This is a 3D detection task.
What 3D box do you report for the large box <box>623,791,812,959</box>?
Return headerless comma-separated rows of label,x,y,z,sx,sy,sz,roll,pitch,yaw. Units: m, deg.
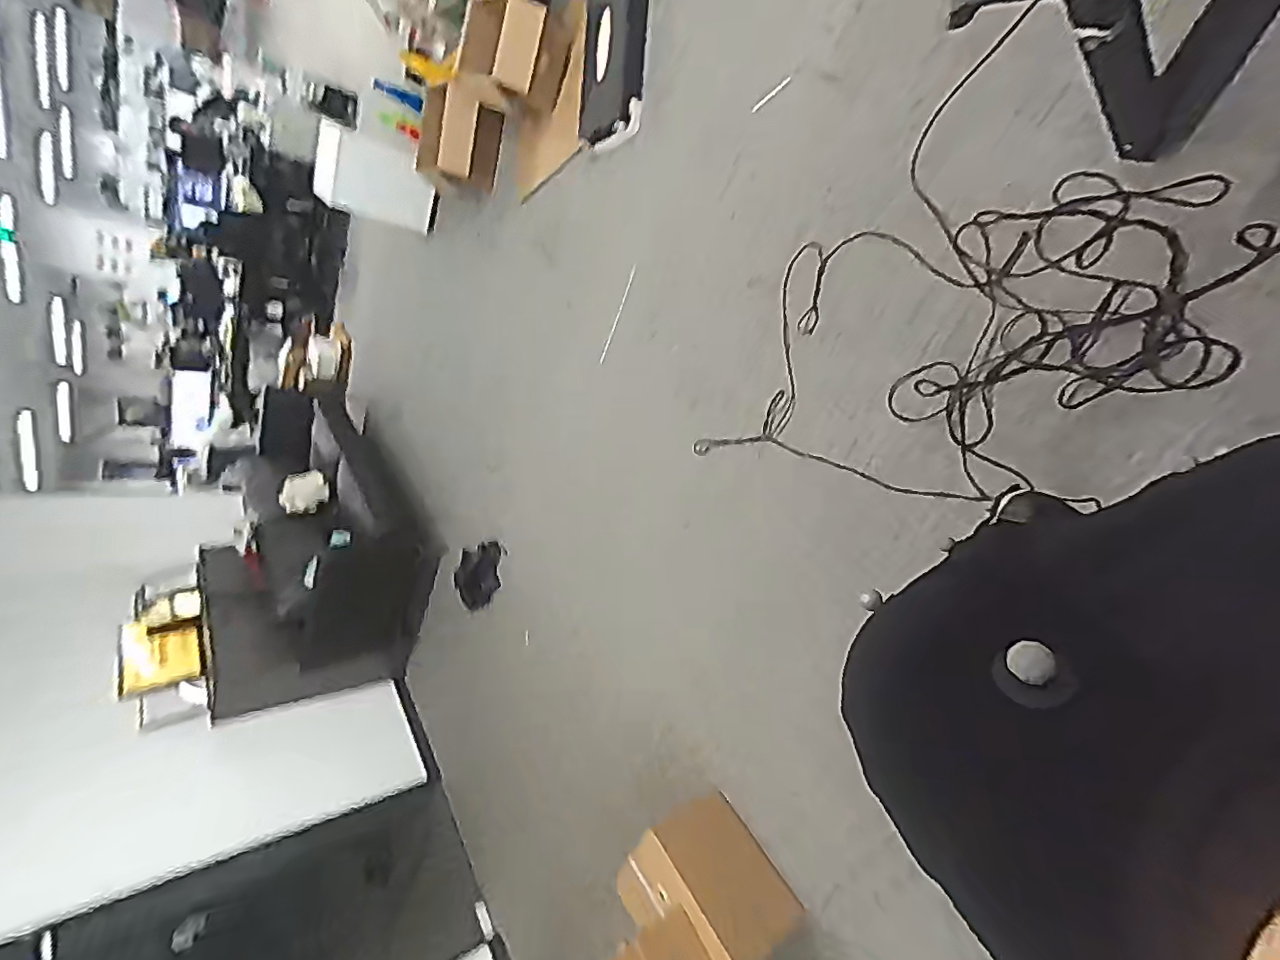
large box,0.221,1.251,1.617,0.408,0.320,0.320,44,120,40
